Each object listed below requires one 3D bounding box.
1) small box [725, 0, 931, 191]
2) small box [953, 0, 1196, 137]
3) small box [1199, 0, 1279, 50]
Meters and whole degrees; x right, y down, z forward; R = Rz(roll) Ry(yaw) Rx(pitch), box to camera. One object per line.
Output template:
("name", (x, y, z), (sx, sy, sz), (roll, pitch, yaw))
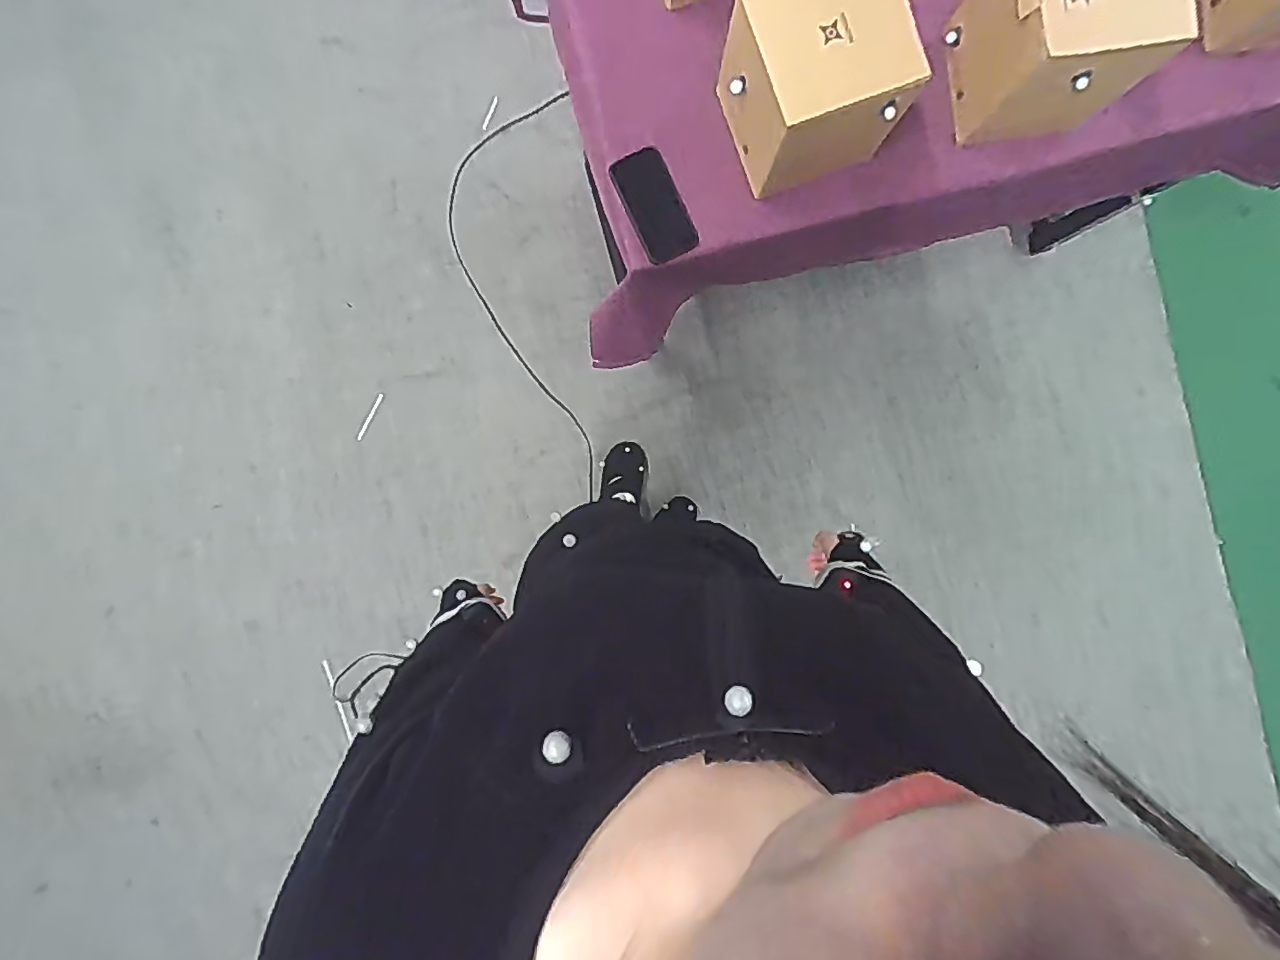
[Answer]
("small box", (0.217, -0.502, 0.680), (0.179, 0.176, 0.168), (-20, 92, -1))
("small box", (0.523, -0.566, 0.681), (0.179, 0.176, 0.168), (-9, 92, -1))
("small box", (0.873, -0.691, 0.682), (0.179, 0.176, 0.168), (-7, 92, -1))
